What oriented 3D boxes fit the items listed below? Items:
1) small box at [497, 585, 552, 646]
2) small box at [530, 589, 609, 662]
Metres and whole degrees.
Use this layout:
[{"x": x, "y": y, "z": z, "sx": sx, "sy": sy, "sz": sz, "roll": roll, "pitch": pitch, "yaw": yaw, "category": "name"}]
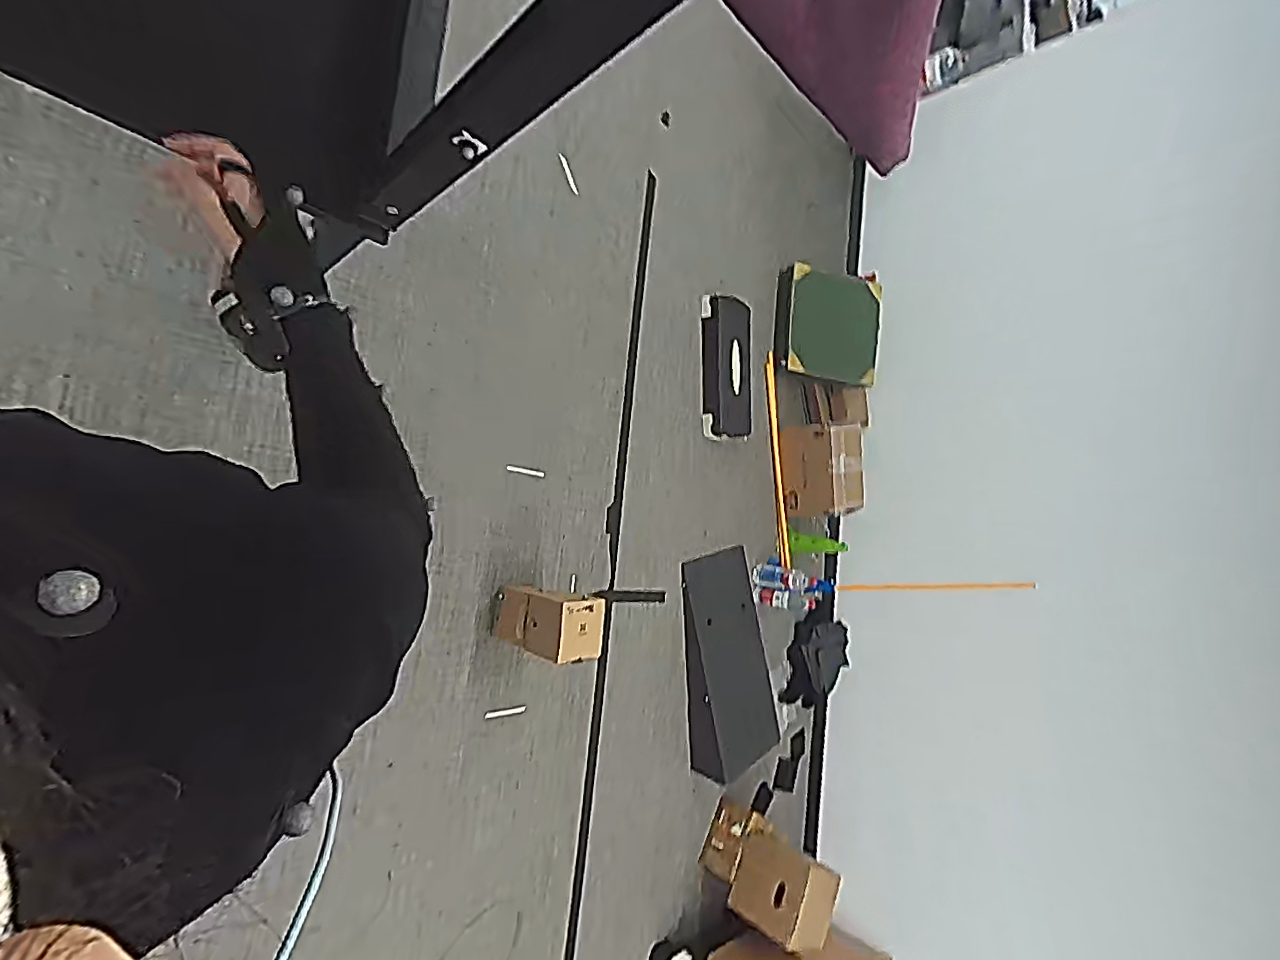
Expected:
[{"x": -0.338, "y": 0.436, "z": 1.750, "sx": 0.179, "sy": 0.176, "sz": 0.168, "roll": 15, "pitch": 80, "yaw": -46, "category": "small box"}, {"x": -0.216, "y": 0.433, "z": 1.639, "sx": 0.168, "sy": 0.176, "sz": 0.179, "roll": 8, "pitch": 86, "yaw": -46, "category": "small box"}]
